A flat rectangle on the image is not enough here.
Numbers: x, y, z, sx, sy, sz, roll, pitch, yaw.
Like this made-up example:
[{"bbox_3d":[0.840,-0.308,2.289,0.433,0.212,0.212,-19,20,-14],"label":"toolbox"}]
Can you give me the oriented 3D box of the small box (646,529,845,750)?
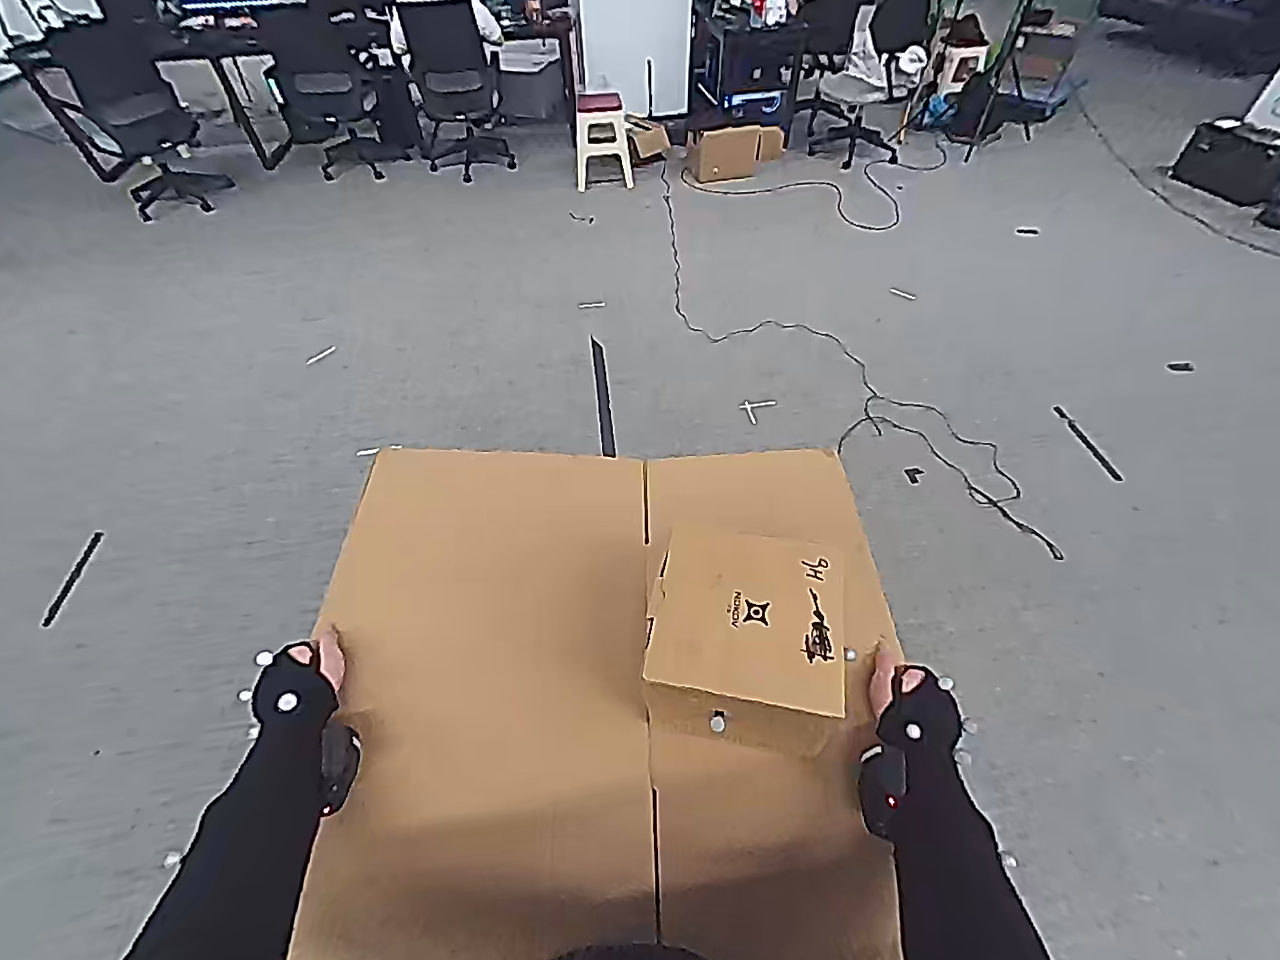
[{"bbox_3d":[0.115,0.173,0.581,0.179,0.176,0.168,6,53,12],"label":"small box"}]
